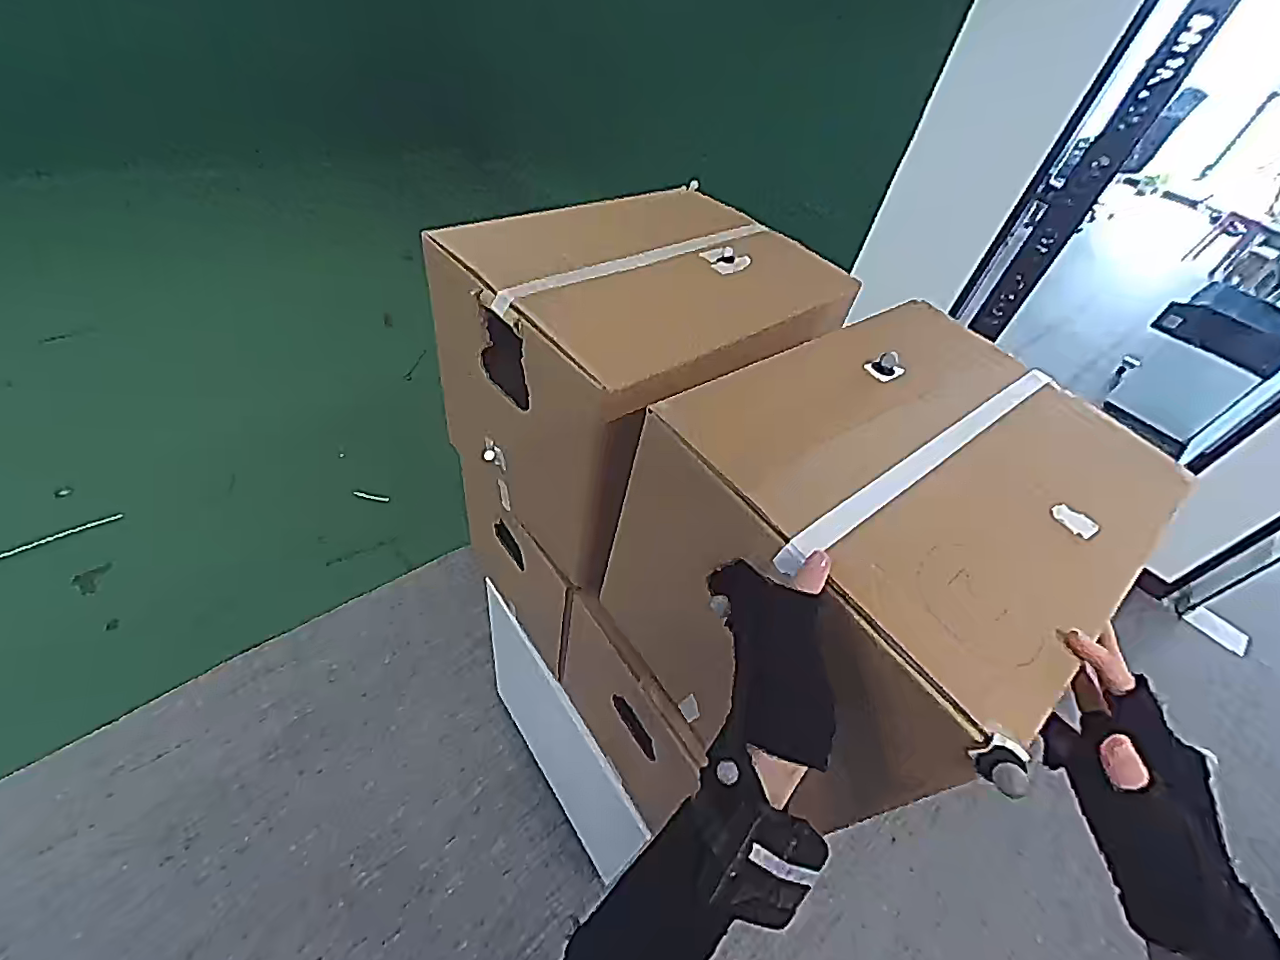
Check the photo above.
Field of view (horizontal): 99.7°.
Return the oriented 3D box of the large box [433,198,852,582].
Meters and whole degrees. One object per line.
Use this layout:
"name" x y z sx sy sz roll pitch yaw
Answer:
"large box" -0.005 -0.141 0.725 0.408 0.320 0.320 -28 58 -33
